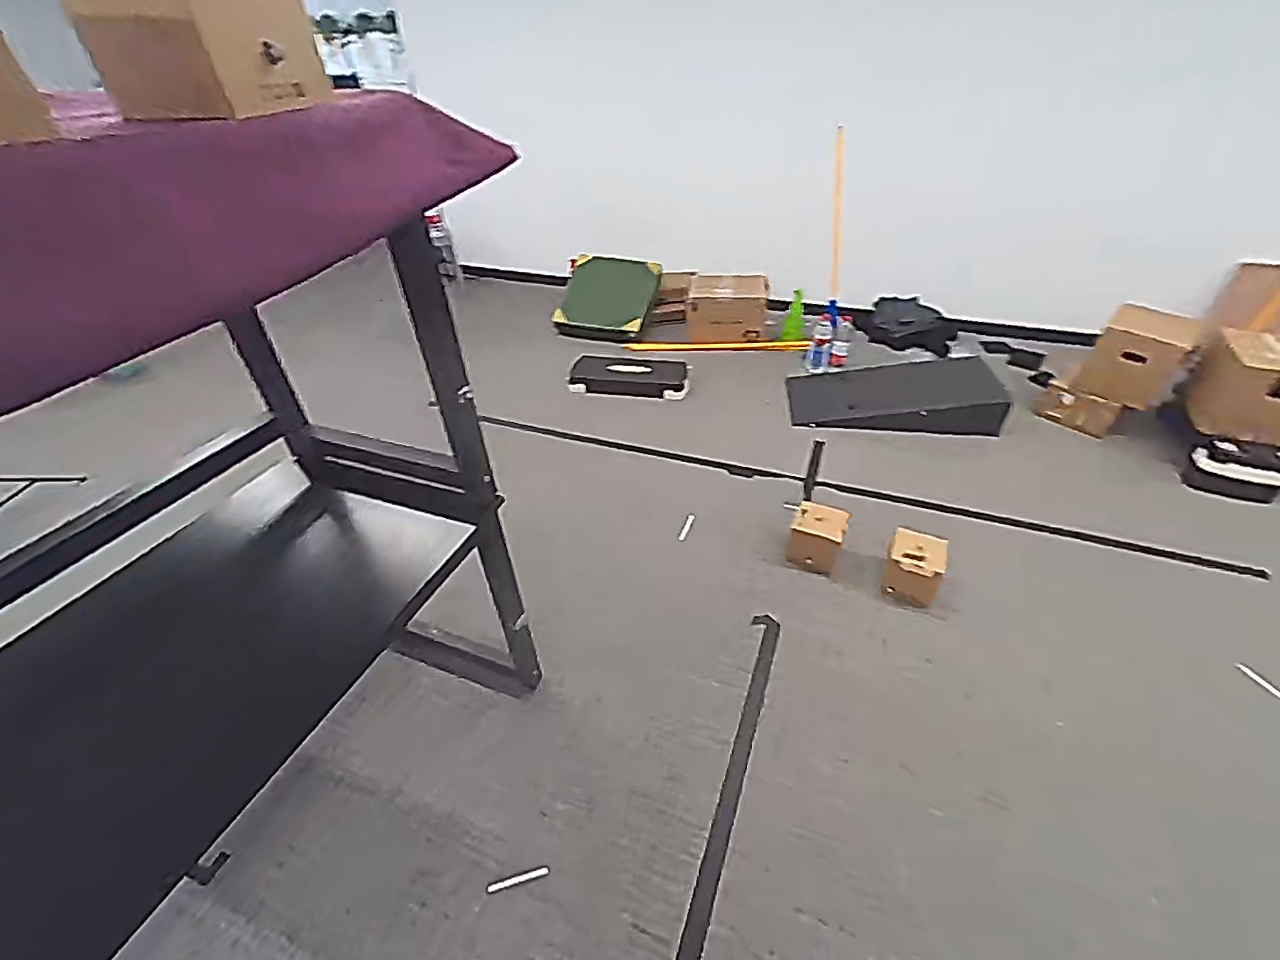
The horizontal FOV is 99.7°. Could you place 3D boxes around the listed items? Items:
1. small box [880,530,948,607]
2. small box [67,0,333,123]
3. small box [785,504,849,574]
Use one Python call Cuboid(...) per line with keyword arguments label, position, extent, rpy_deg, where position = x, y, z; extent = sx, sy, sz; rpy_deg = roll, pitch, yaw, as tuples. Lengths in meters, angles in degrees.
Cuboid(label="small box", position=(0.949, 0.308, 1.879), extent=(0.168, 0.176, 0.179), rpy_deg=(17, 41, 22))
Cuboid(label="small box", position=(-0.503, -0.516, 0.618), extent=(0.179, 0.176, 0.168), rpy_deg=(8, 40, 14))
Cuboid(label="small box", position=(0.652, 0.220, 1.997), extent=(0.179, 0.176, 0.168), rpy_deg=(17, 42, 21))
